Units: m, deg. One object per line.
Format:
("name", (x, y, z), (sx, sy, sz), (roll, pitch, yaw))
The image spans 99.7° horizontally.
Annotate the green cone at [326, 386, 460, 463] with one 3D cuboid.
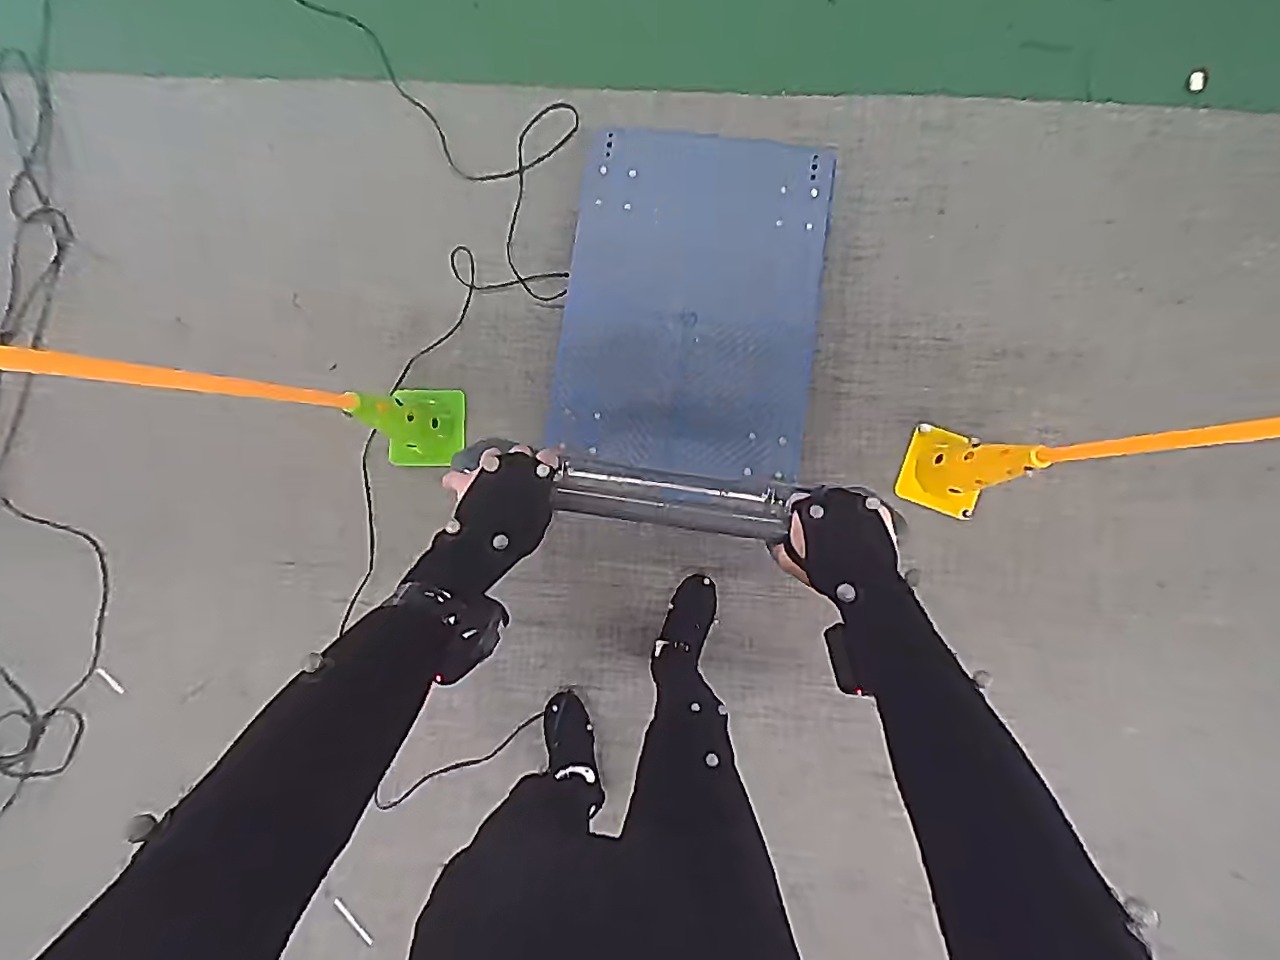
("green cone", (-0.575, -0.154, 1.229), (0.202, 0.368, 0.200), (-1, 86, 4))
